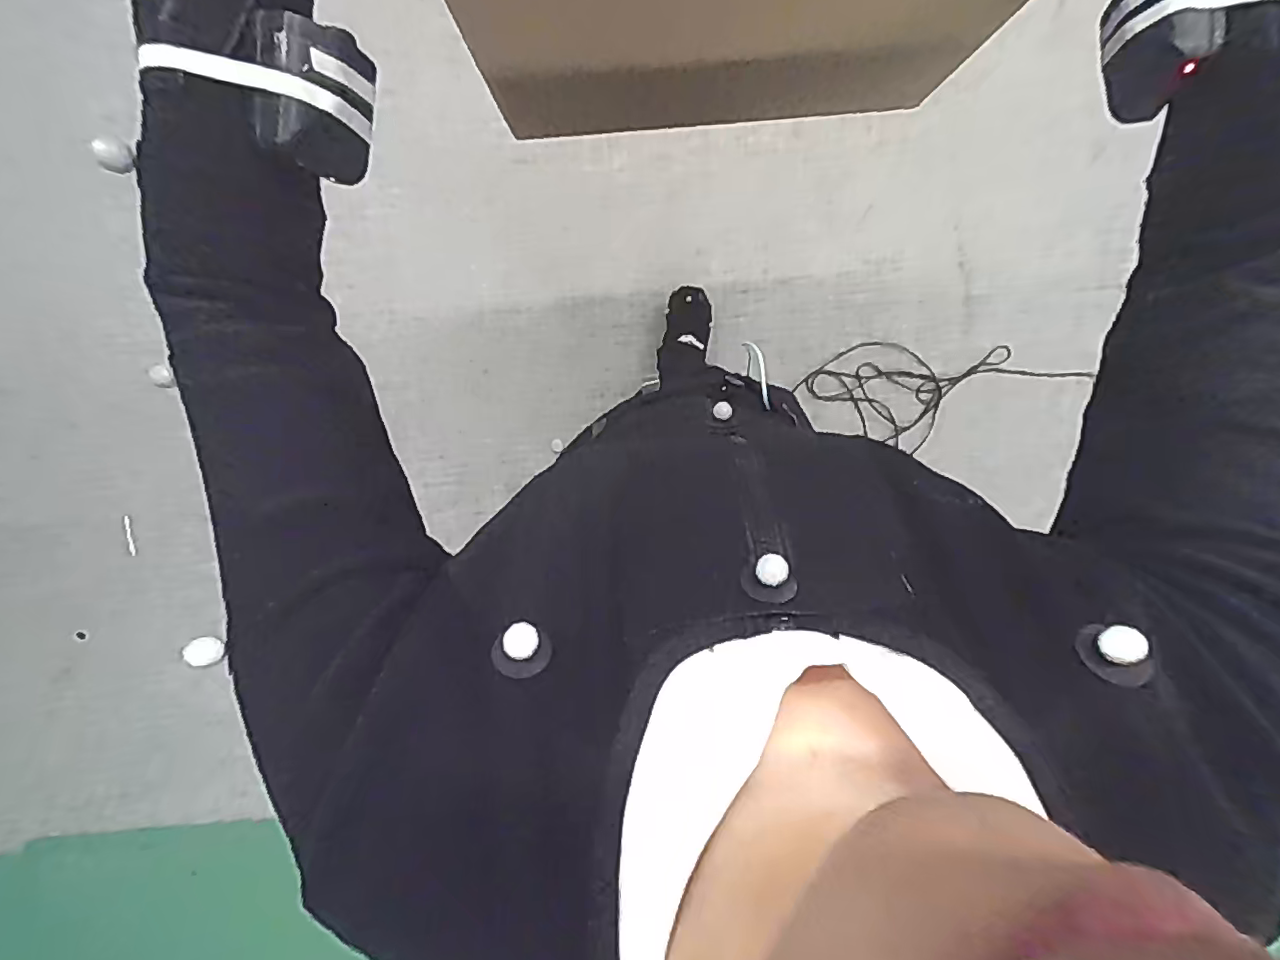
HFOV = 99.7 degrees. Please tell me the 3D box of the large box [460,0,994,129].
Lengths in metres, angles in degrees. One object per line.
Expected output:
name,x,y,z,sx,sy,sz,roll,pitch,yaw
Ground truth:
large box,0.060,-0.484,0.361,0.408,0.320,0.320,-5,102,0
